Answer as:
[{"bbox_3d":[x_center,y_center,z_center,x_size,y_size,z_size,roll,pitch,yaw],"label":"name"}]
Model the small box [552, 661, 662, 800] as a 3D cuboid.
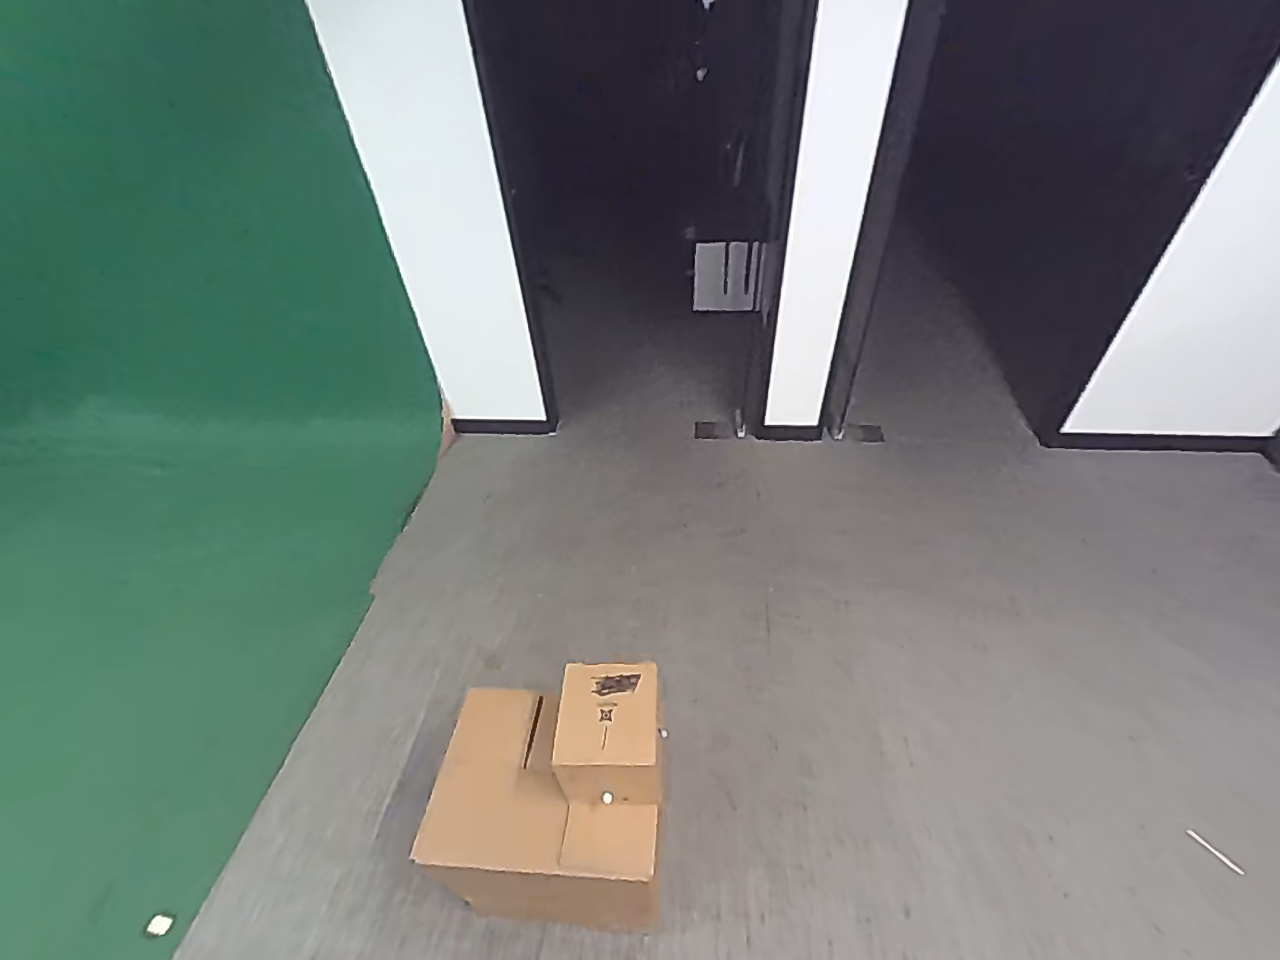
[{"bbox_3d":[-0.049,0.444,0.964,0.168,0.176,0.179,-2,43,5],"label":"small box"}]
